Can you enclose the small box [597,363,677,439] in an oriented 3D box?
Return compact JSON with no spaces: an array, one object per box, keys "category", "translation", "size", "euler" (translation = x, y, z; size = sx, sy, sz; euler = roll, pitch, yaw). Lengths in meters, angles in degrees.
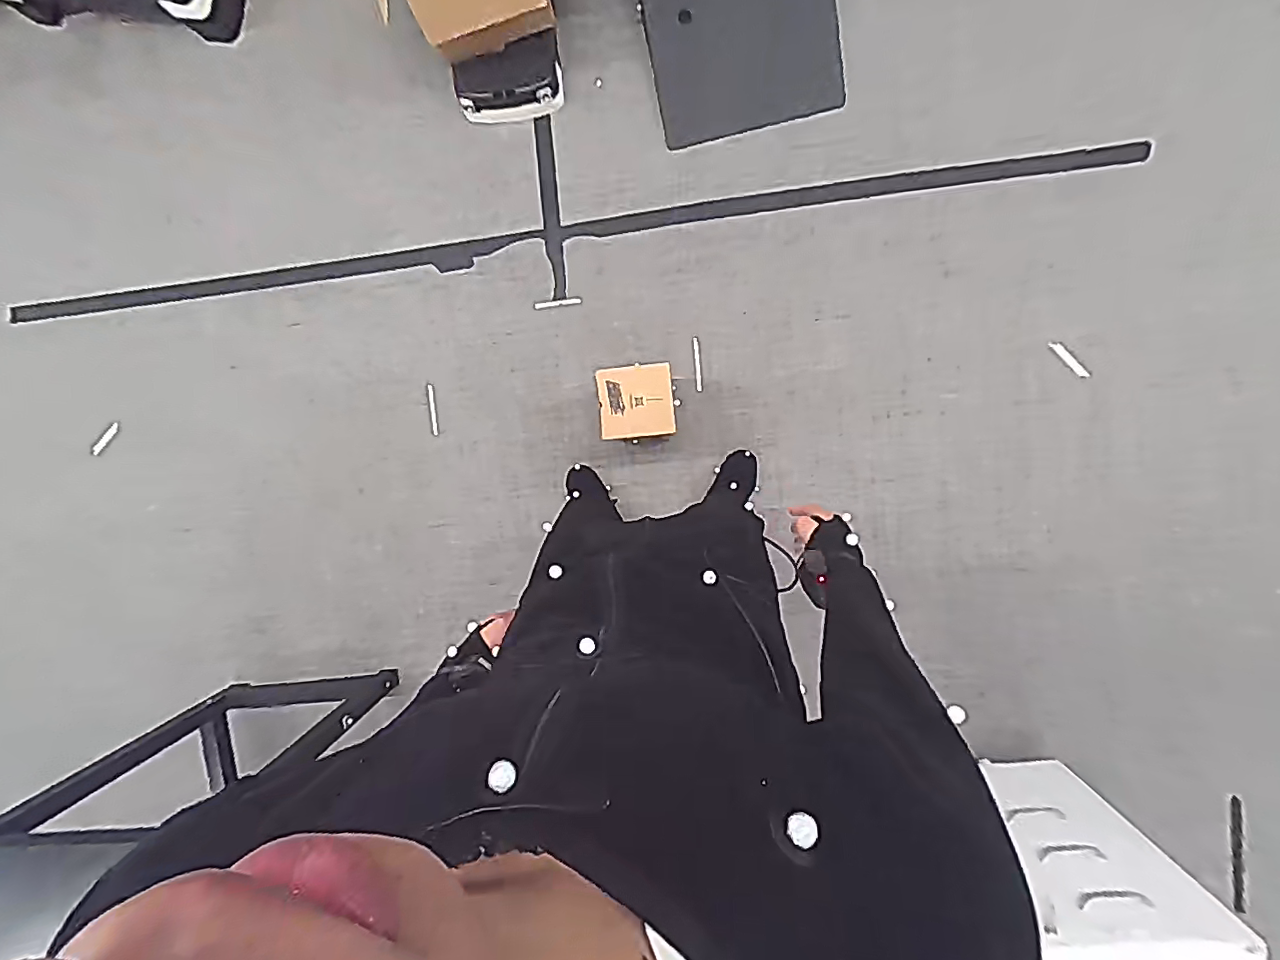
[{"category":"small box","translation":[-0.002,-0.187,1.326],"size":[0.179,0.176,0.168],"euler":[-5,95,4]}]
